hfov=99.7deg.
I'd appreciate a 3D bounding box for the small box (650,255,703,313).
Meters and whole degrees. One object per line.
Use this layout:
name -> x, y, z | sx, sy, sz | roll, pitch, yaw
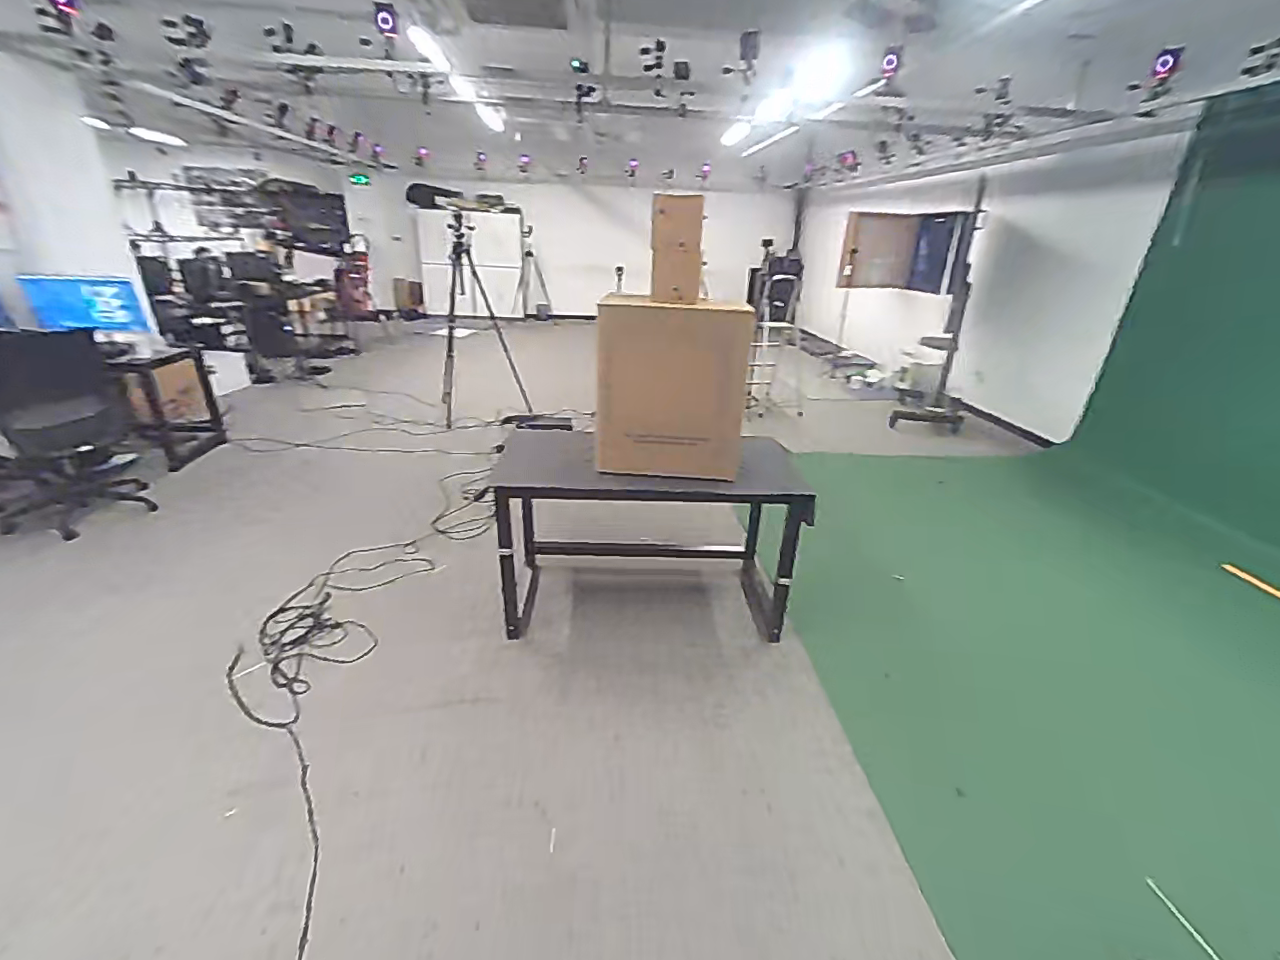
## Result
small box -> 0.127, -0.691, 1.900 | 0.168, 0.176, 0.179 | 6, 26, 6
